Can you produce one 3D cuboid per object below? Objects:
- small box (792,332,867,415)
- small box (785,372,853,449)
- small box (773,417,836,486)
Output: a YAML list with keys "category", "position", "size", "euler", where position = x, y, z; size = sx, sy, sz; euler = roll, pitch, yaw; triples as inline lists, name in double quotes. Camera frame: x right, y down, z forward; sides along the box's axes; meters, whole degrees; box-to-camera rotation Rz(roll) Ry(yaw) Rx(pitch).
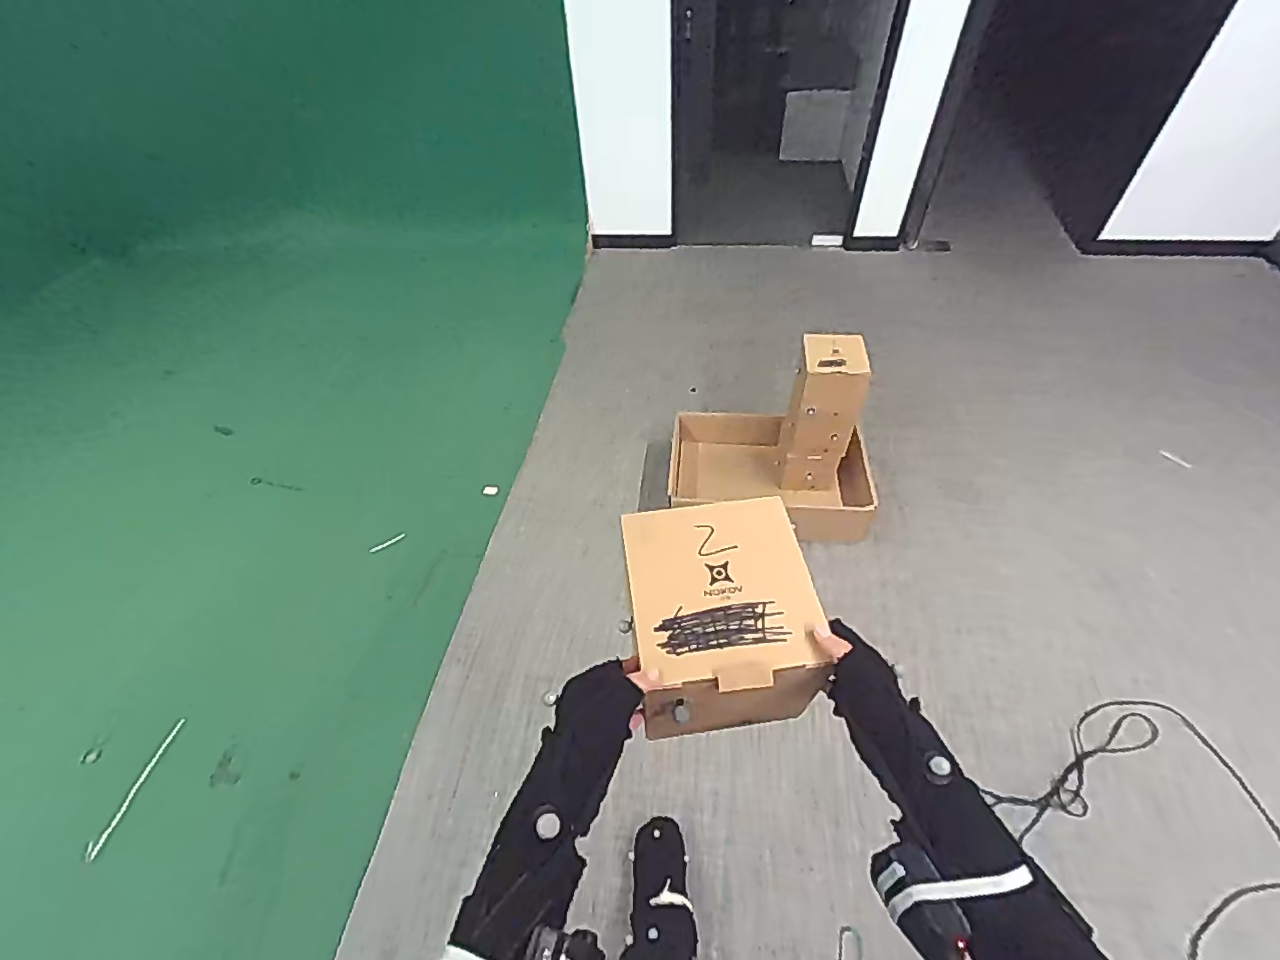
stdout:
- category: "small box"
  position: [0.532, -0.302, 1.542]
  size: [0.168, 0.176, 0.179]
  euler: [3, 50, 6]
- category: "small box"
  position: [0.543, -0.211, 1.658]
  size: [0.168, 0.176, 0.179]
  euler: [2, 50, 7]
- category: "small box"
  position: [0.540, -0.092, 1.796]
  size: [0.168, 0.176, 0.179]
  euler: [-2, 49, 5]
